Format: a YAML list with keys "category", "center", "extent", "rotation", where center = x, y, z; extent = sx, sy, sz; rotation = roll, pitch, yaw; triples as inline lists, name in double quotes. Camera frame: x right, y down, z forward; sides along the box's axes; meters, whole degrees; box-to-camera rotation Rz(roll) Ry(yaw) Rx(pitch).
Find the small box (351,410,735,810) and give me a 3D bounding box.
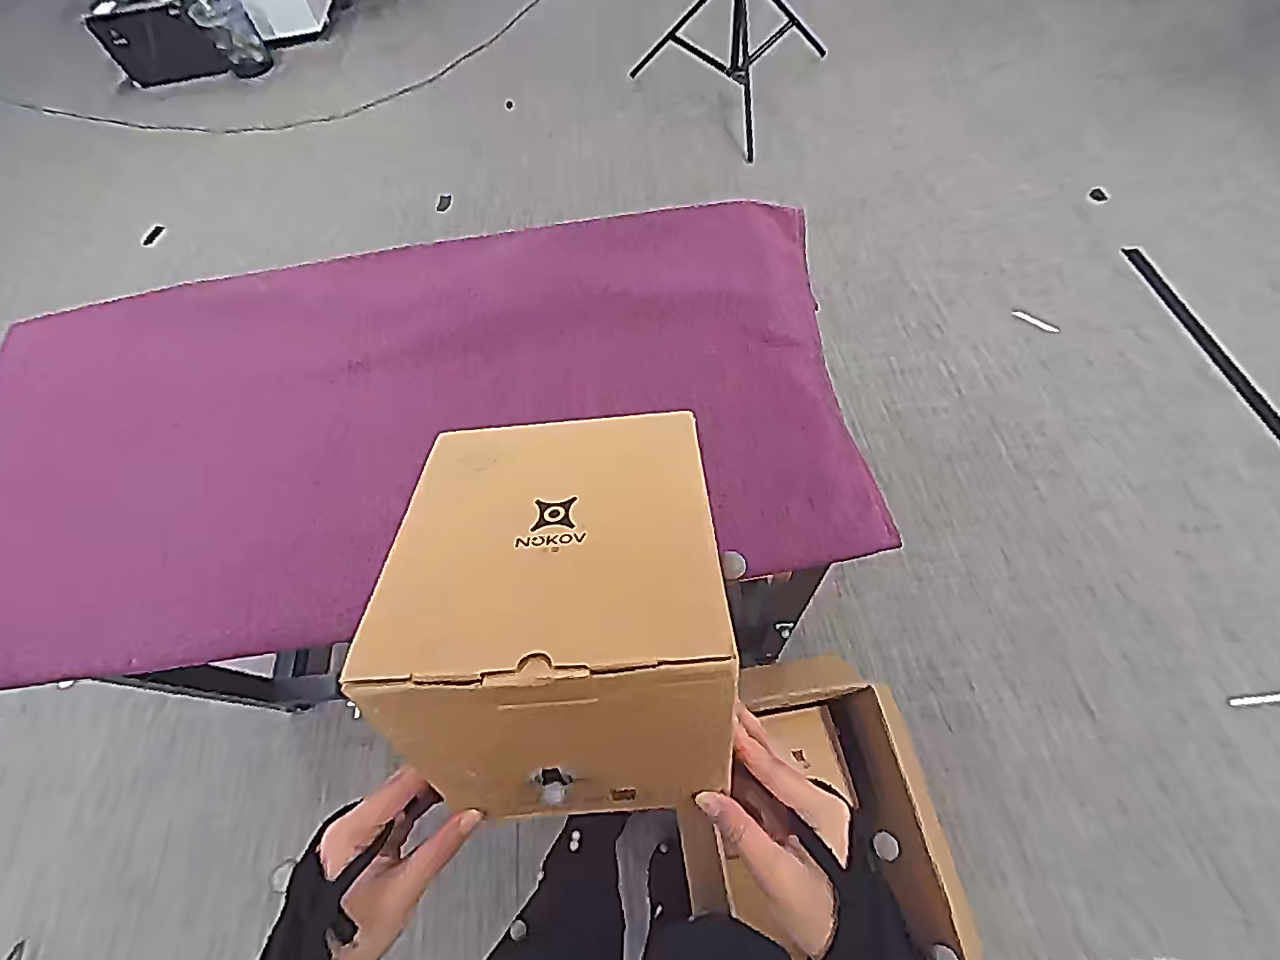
- category: "small box"
  center: [-0.038, 0.079, 0.339]
  extent: [0.168, 0.176, 0.179]
  rotation: [-6, 42, 2]
